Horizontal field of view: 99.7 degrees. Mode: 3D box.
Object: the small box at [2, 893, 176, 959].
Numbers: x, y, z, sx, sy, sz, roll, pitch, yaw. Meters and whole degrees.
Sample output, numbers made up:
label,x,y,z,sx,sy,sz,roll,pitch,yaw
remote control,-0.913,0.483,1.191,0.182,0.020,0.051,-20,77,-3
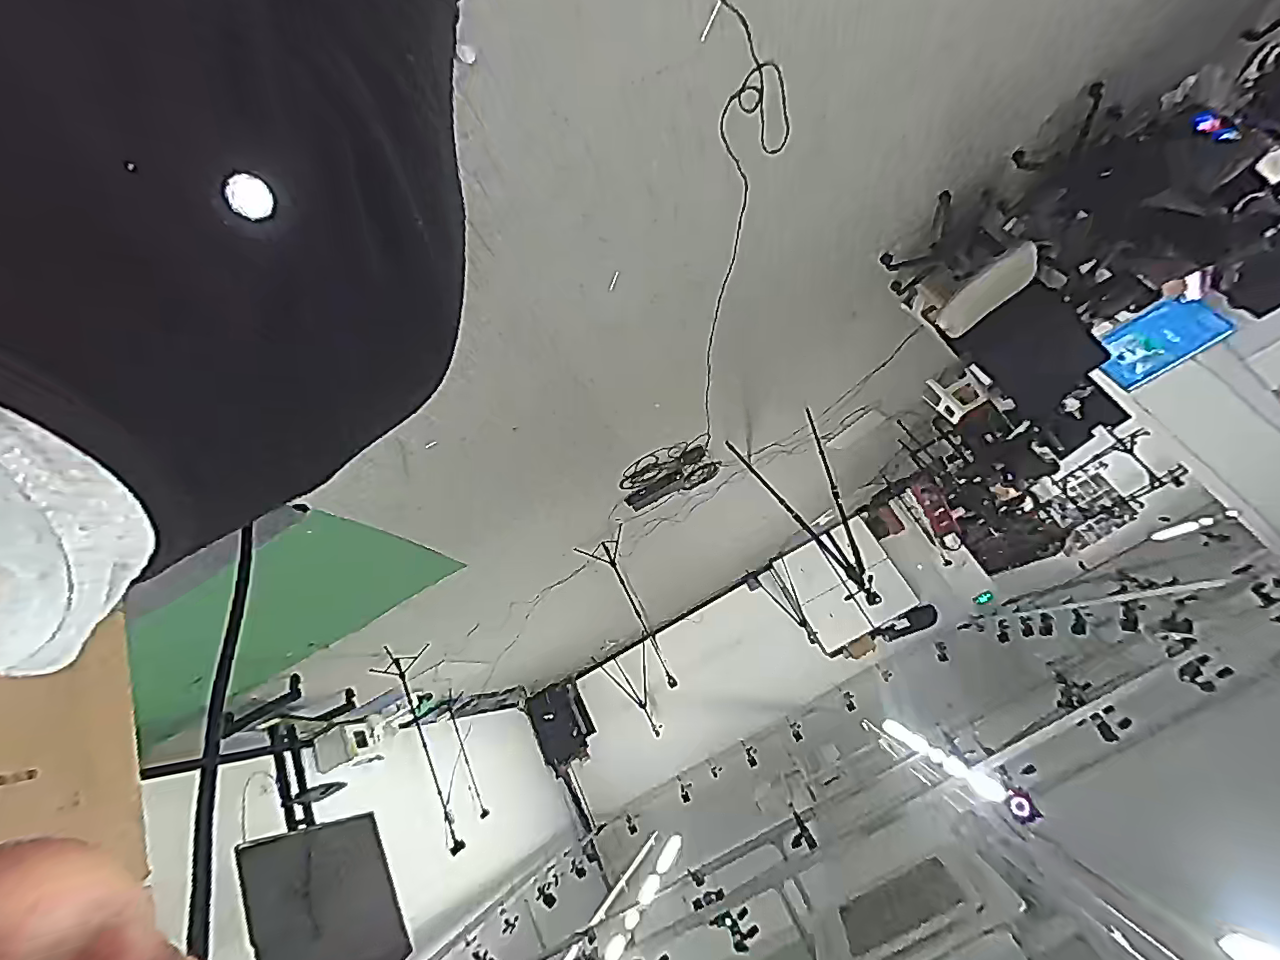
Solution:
label,x,y,z,sx,sy,sz,roll,pitch,yaw
small box,-0.683,0.634,0.629,0.168,0.176,0.179,-34,159,6
